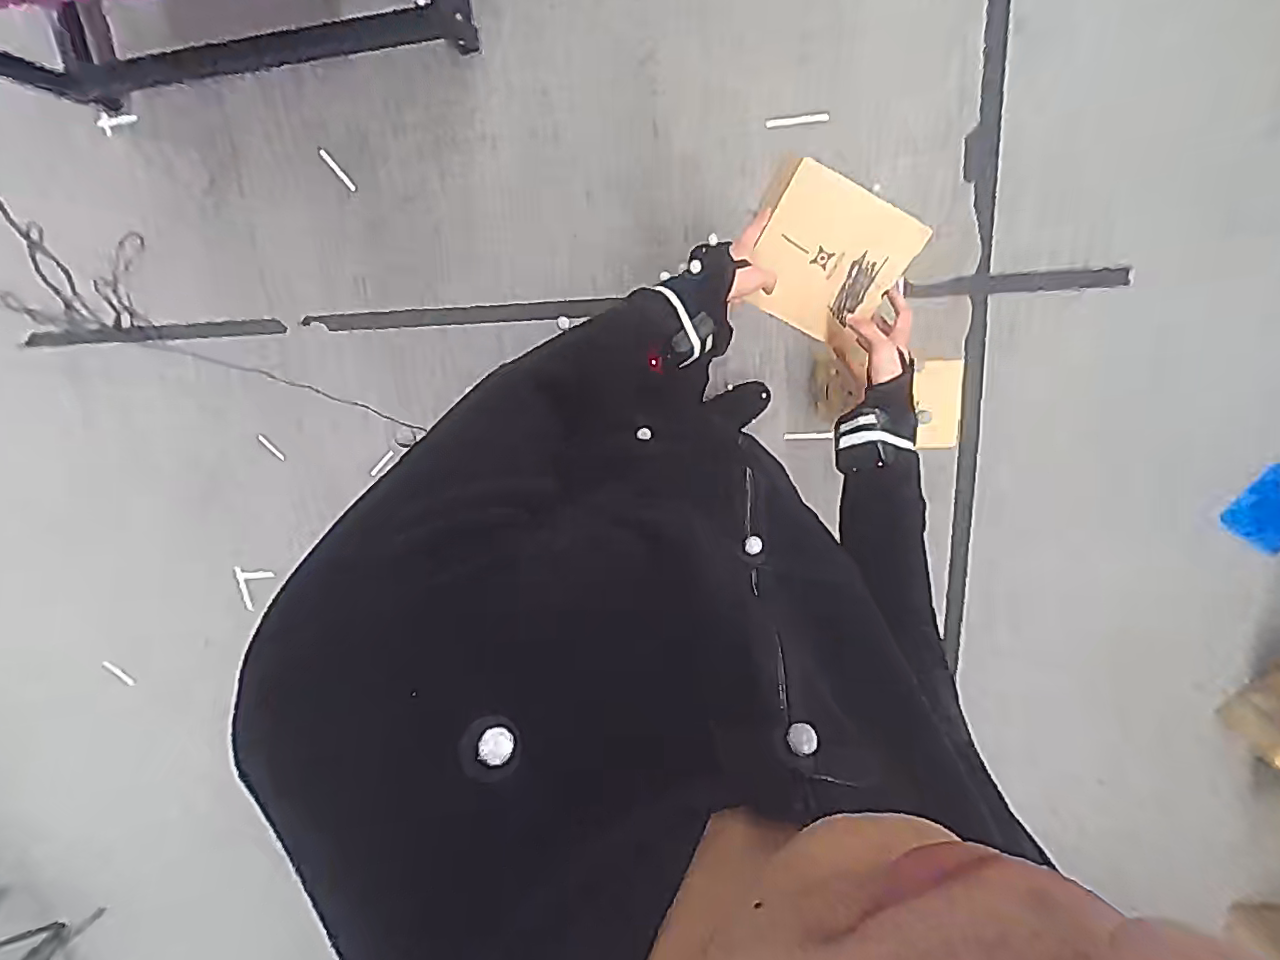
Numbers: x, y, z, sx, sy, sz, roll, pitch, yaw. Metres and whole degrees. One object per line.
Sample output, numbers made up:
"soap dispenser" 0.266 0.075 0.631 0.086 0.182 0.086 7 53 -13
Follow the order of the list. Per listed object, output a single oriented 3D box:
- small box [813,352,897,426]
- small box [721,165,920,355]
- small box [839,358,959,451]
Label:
"small box" 0.559 -0.243 1.422 0.179 0.176 0.168 -4 105 10
"small box" 0.223 -0.298 0.719 0.179 0.176 0.168 24 121 -8
"small box" 0.519 -0.159 1.108 0.179 0.176 0.168 -1 107 9
